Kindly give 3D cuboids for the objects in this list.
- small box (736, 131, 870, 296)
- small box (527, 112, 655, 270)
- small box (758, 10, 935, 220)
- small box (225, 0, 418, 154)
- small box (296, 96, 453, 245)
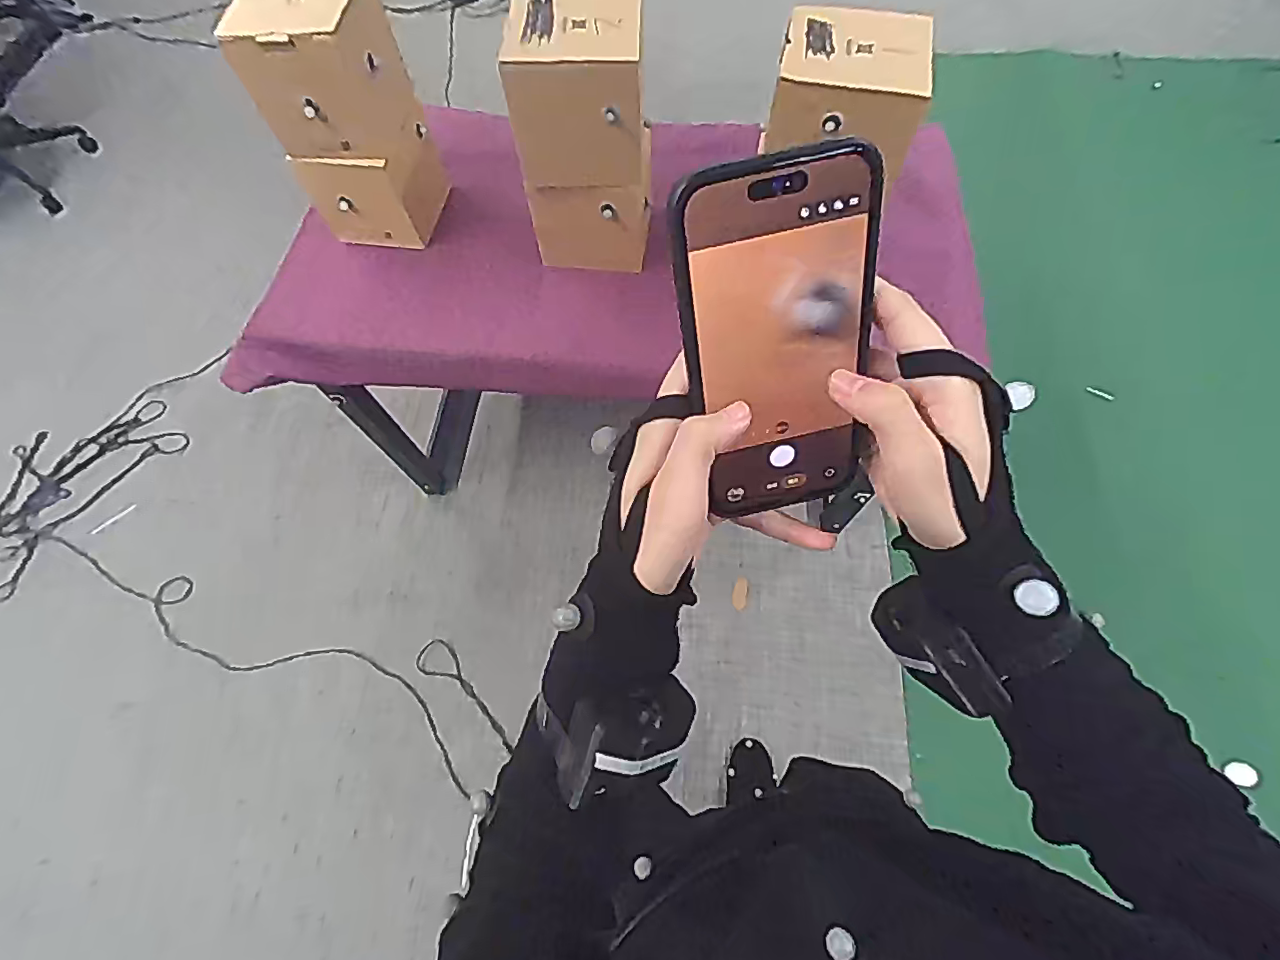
[{"bbox_3d":[0.264,-0.424,0.876,0.179,0.176,0.168,13,66,9],"label":"small box"},{"bbox_3d":[-0.071,-0.479,0.912,0.179,0.176,0.168,7,66,5],"label":"small box"},{"bbox_3d":[0.263,-0.477,0.720,0.179,0.176,0.168,13,66,7],"label":"small box"},{"bbox_3d":[-0.458,-0.620,0.812,0.168,0.176,0.179,3,66,3],"label":"small box"},{"bbox_3d":[-0.453,-0.545,0.958,0.168,0.176,0.179,8,66,6],"label":"small box"}]
